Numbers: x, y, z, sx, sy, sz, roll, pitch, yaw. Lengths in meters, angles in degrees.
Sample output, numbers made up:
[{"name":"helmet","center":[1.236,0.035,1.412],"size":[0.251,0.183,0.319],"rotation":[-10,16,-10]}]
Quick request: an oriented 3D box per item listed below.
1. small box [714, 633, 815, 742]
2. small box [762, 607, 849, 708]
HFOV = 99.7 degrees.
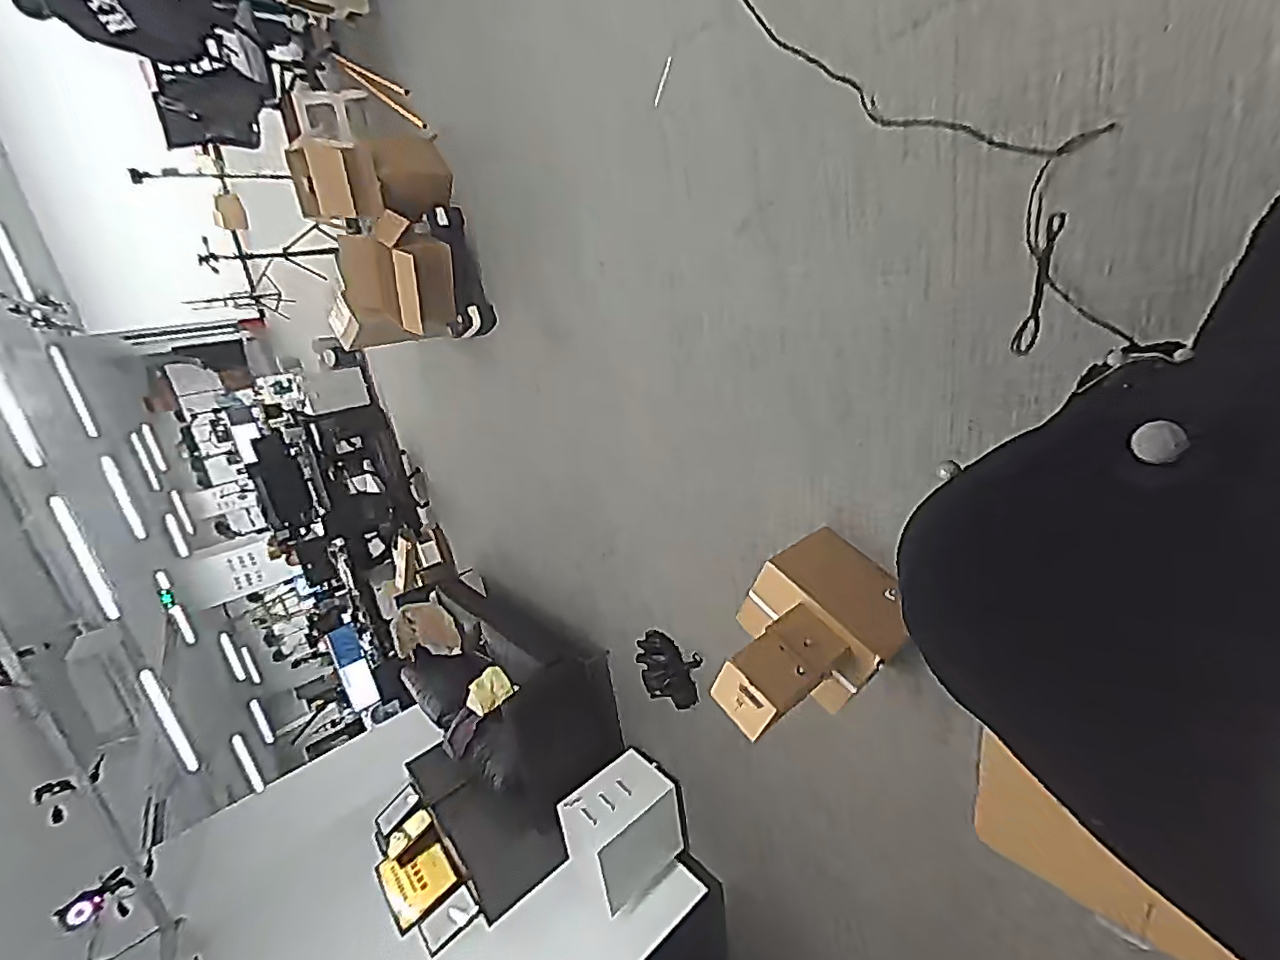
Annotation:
[{"name":"small box","center":[0.326,0.532,1.407],"size":[0.168,0.176,0.179],"rotation":[45,139,31]},{"name":"small box","center":[0.449,0.488,1.512],"size":[0.179,0.176,0.168],"rotation":[41,137,36]}]
